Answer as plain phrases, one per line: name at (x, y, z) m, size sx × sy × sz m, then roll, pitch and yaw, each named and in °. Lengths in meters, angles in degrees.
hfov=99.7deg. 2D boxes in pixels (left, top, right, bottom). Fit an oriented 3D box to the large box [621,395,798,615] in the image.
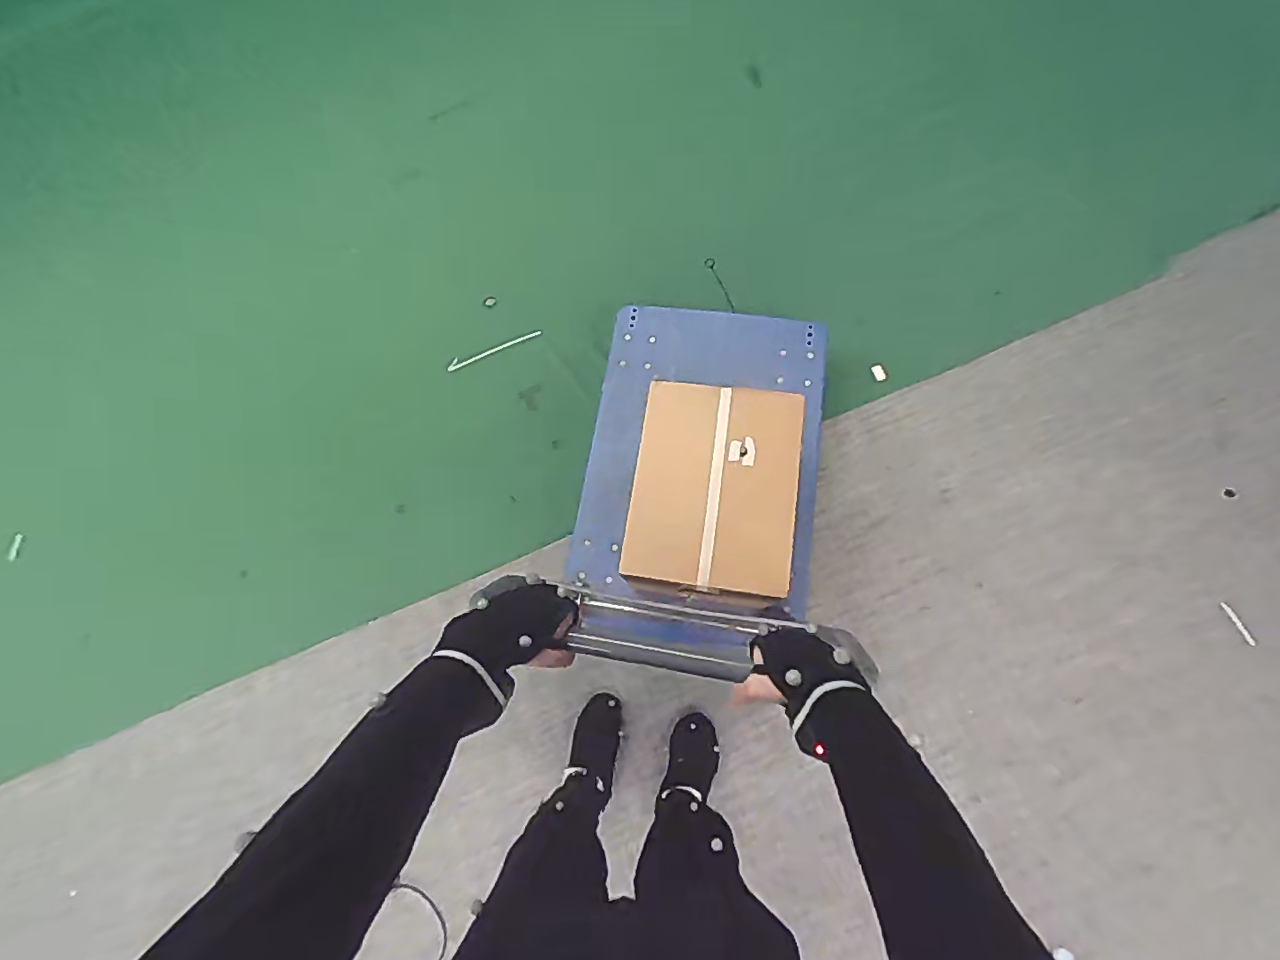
large box at (0.156, 0.071, 1.202) m, size 0.320 × 0.320 × 0.408 m, roll 8°, pitch 73°, yaw 7°
